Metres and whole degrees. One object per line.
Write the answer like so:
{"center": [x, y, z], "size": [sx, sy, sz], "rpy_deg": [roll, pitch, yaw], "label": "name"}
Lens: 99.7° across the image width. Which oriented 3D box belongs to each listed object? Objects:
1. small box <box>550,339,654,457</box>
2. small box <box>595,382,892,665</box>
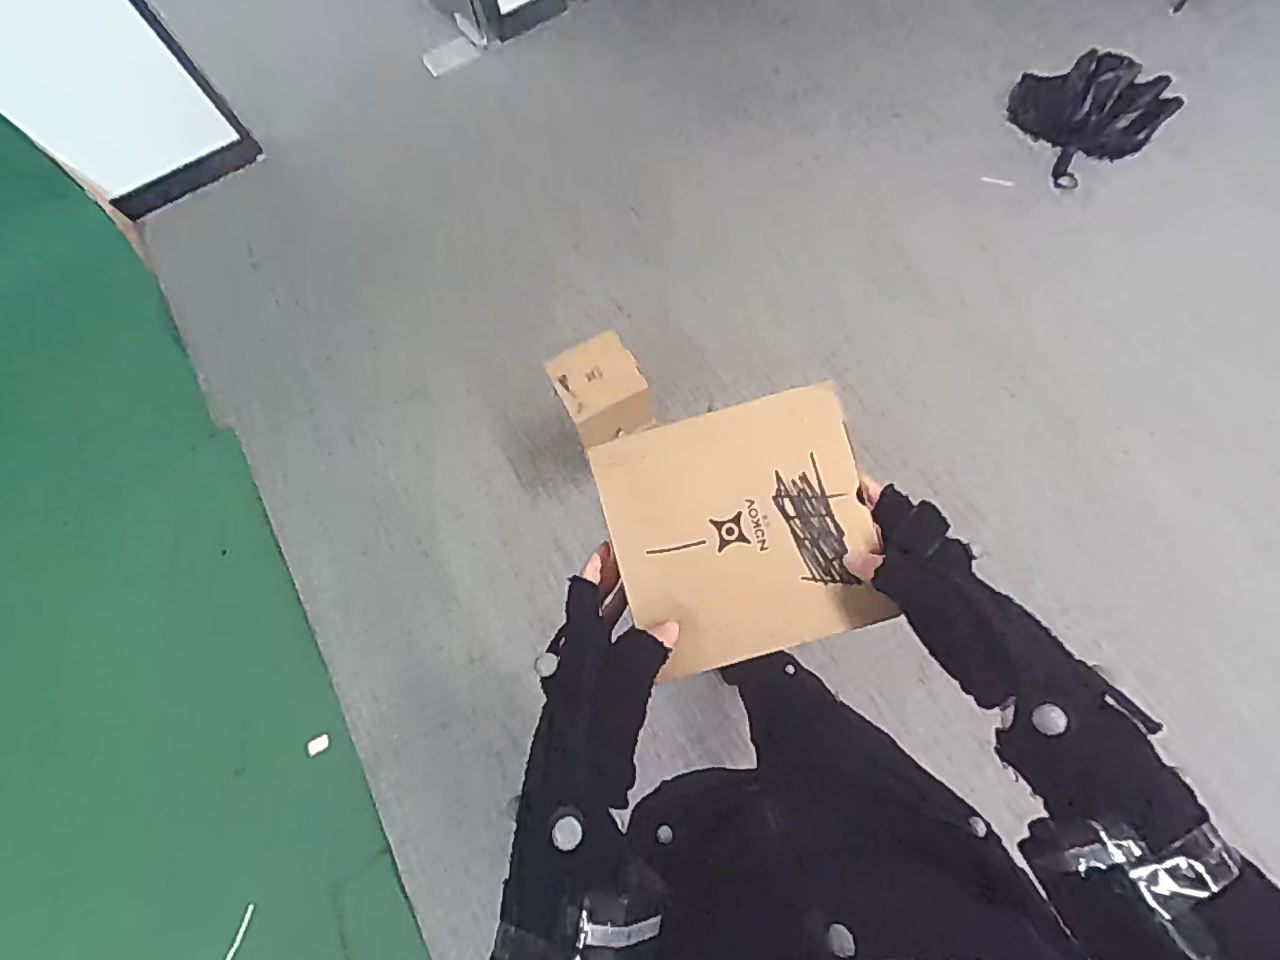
{"center": [-0.080, -0.179, 1.220], "size": [0.179, 0.176, 0.168], "rpy_deg": [-27, 71, -5], "label": "small box"}
{"center": [0.070, 0.034, 0.447], "size": [0.179, 0.176, 0.168], "rpy_deg": [-13, 84, 1], "label": "small box"}
